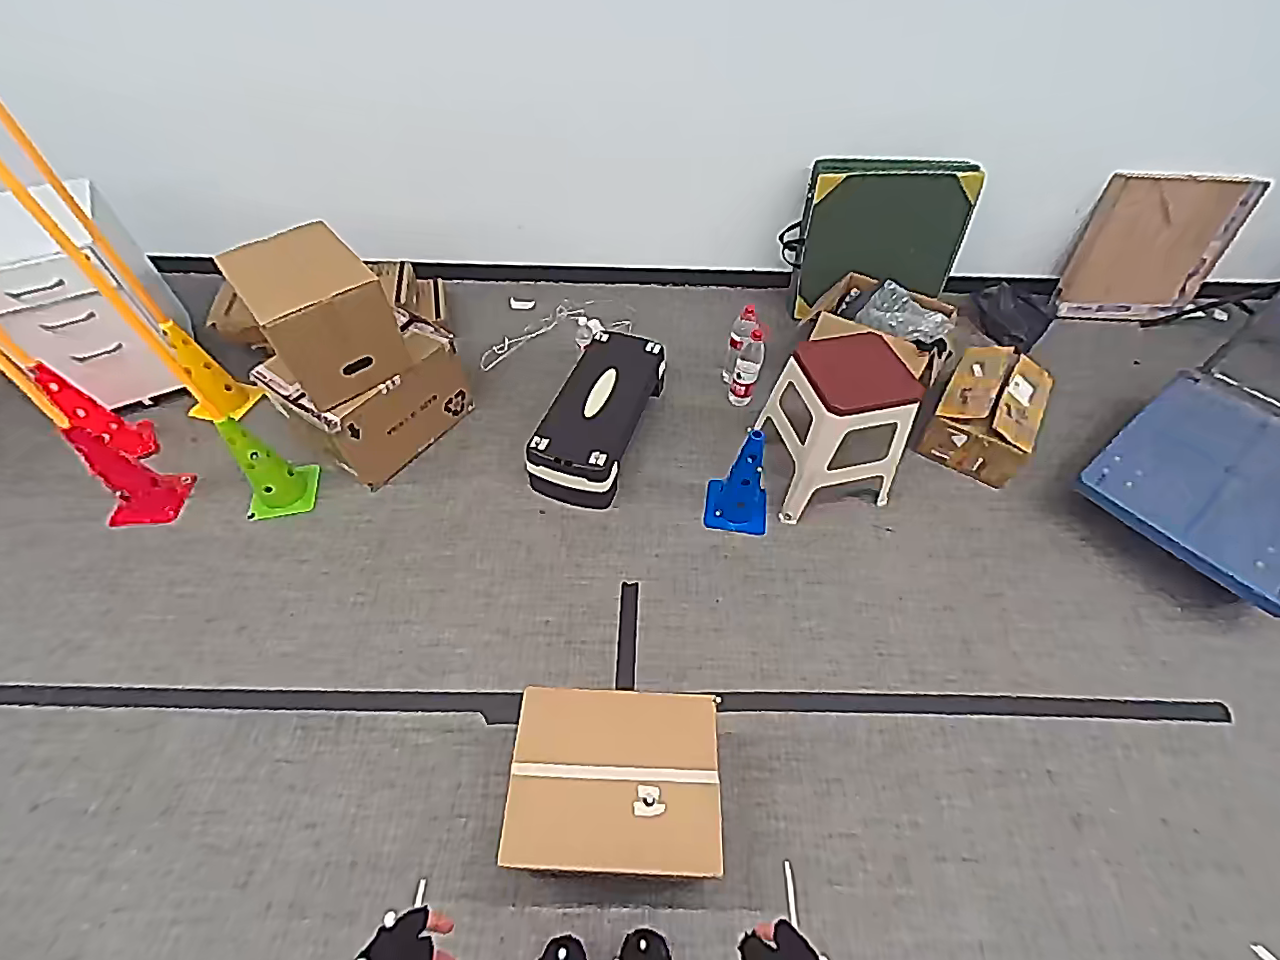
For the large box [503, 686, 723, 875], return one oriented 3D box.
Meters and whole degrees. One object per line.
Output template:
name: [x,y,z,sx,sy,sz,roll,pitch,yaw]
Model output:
large box: [-0.052,0.657,1.172,0.408,0.320,0.320,3,53,-1]
